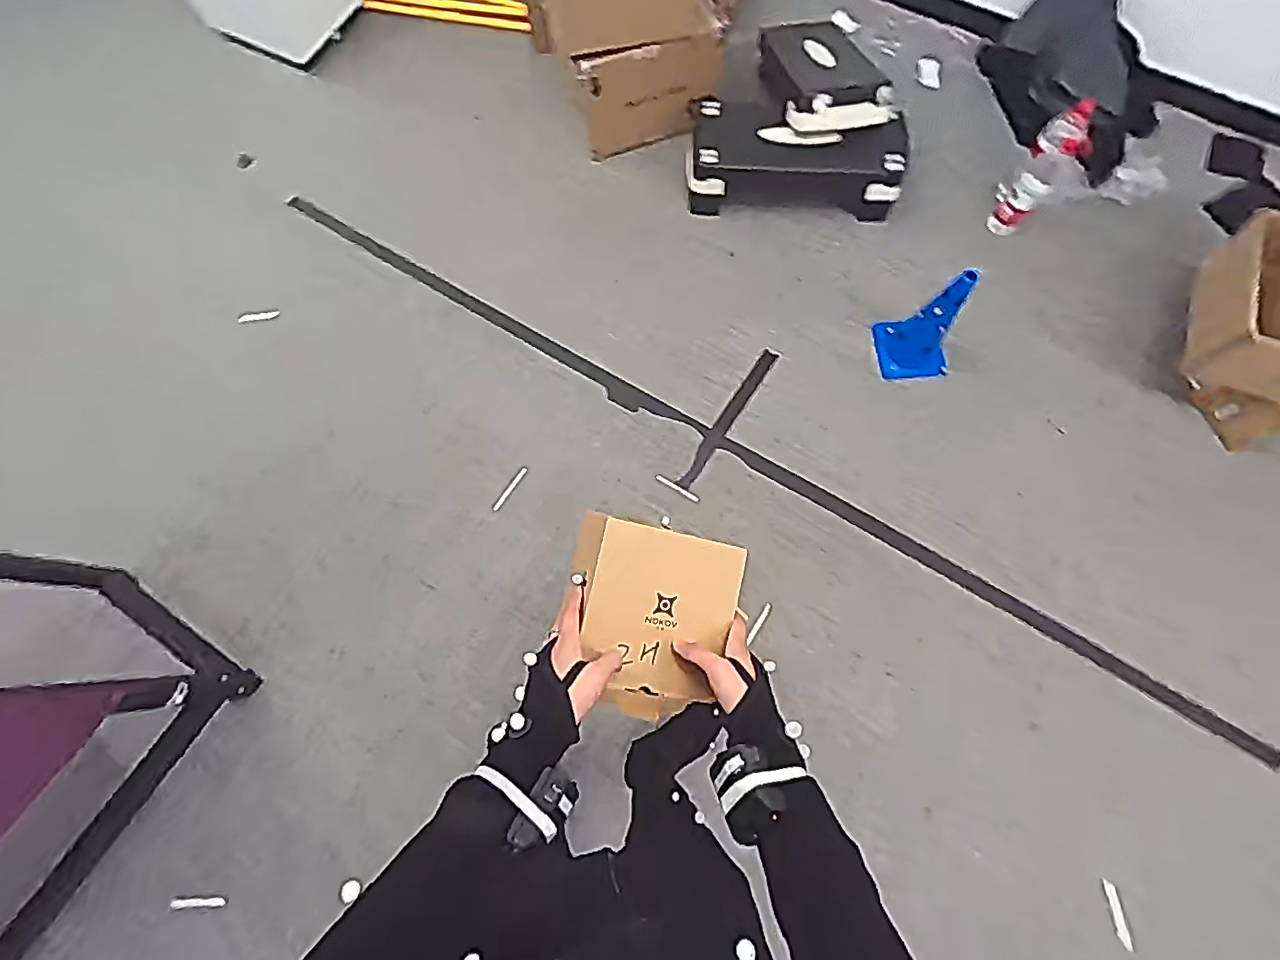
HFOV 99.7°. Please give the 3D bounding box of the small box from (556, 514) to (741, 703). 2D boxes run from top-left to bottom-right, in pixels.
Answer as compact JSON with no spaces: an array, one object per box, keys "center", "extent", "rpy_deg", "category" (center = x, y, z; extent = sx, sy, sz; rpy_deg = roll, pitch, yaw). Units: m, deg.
[{"center":[-0.001,0.143,0.656],"extent":[0.168,0.176,0.179],"rpy_deg":[14,86,-12],"category":"small box"}]
